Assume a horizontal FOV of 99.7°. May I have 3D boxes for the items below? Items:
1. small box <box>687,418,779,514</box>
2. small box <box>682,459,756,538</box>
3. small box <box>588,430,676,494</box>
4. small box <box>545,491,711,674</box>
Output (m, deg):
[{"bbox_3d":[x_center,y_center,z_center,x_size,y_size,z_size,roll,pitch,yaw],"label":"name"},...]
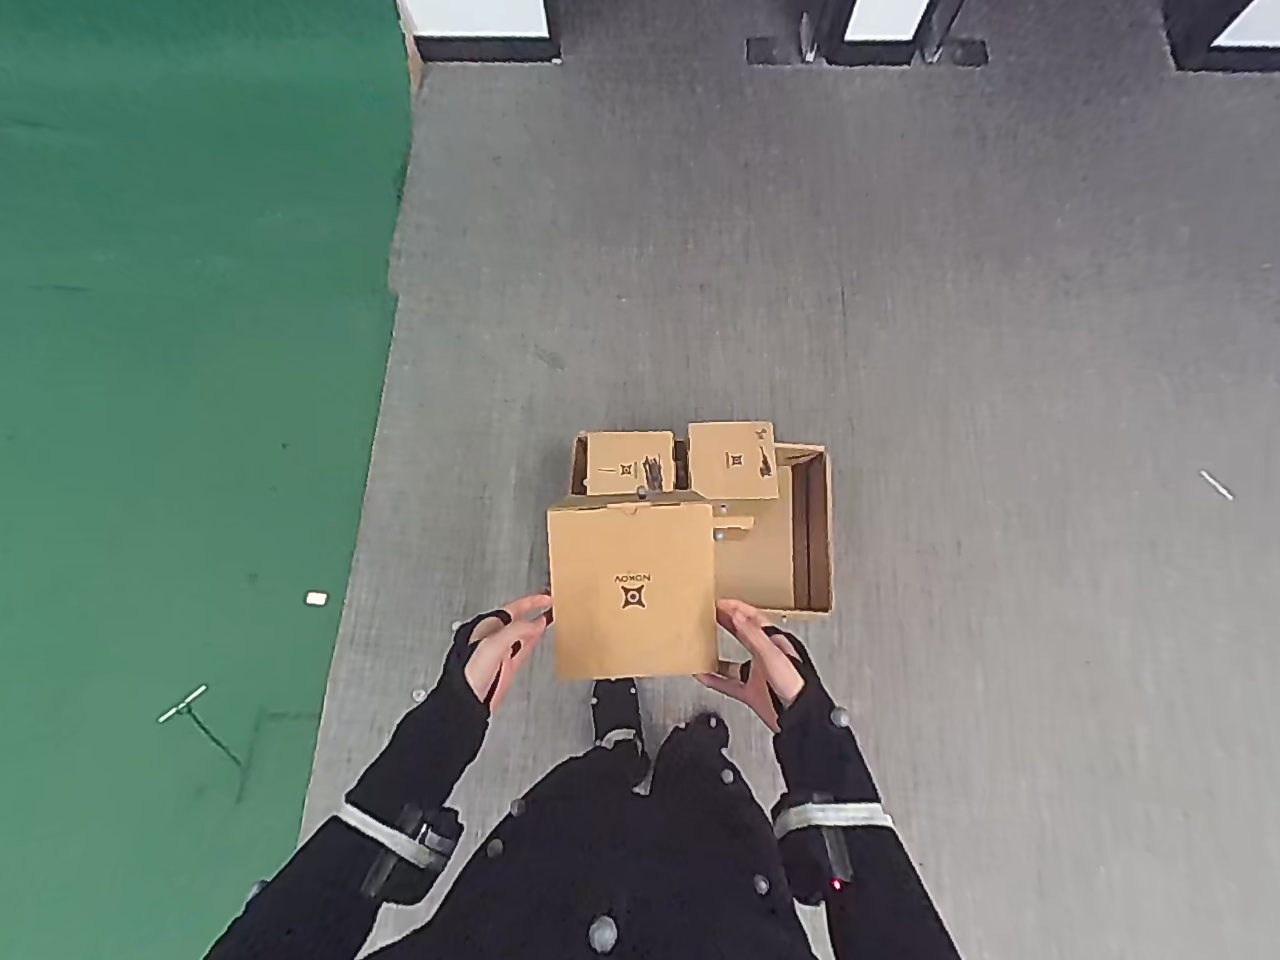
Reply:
[{"bbox_3d":[0.190,-0.023,1.151,0.179,0.176,0.168,-2,75,3],"label":"small box"},{"bbox_3d":[0.186,0.037,1.305,0.168,0.176,0.179,3,76,4],"label":"small box"},{"bbox_3d":[-0.016,-0.003,1.150,0.179,0.176,0.168,-1,76,1],"label":"small box"},{"bbox_3d":[-0.009,0.105,0.619,0.168,0.176,0.179,-3,90,1],"label":"small box"}]
